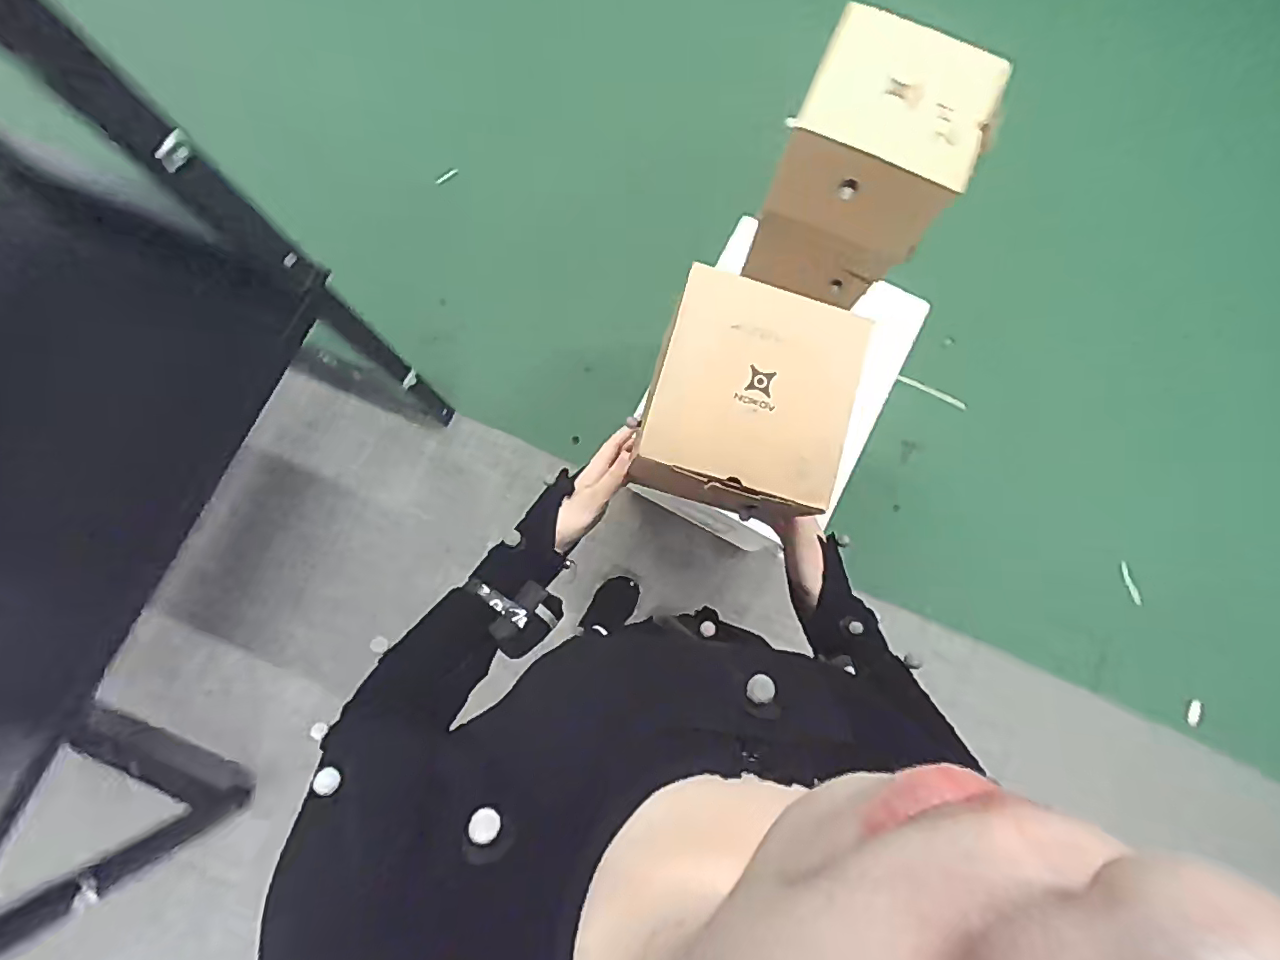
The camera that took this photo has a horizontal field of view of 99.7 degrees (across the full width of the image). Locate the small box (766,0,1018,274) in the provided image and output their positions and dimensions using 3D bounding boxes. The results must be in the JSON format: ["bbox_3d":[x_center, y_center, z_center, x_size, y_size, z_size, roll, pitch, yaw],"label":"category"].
[{"bbox_3d":[0.262,-0.365,0.606,0.179,0.176,0.168,25,81,2],"label":"small box"}]

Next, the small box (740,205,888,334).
[{"bbox_3d":[0.265,-0.338,0.769,0.179,0.176,0.168,32,80,3],"label":"small box"}]
